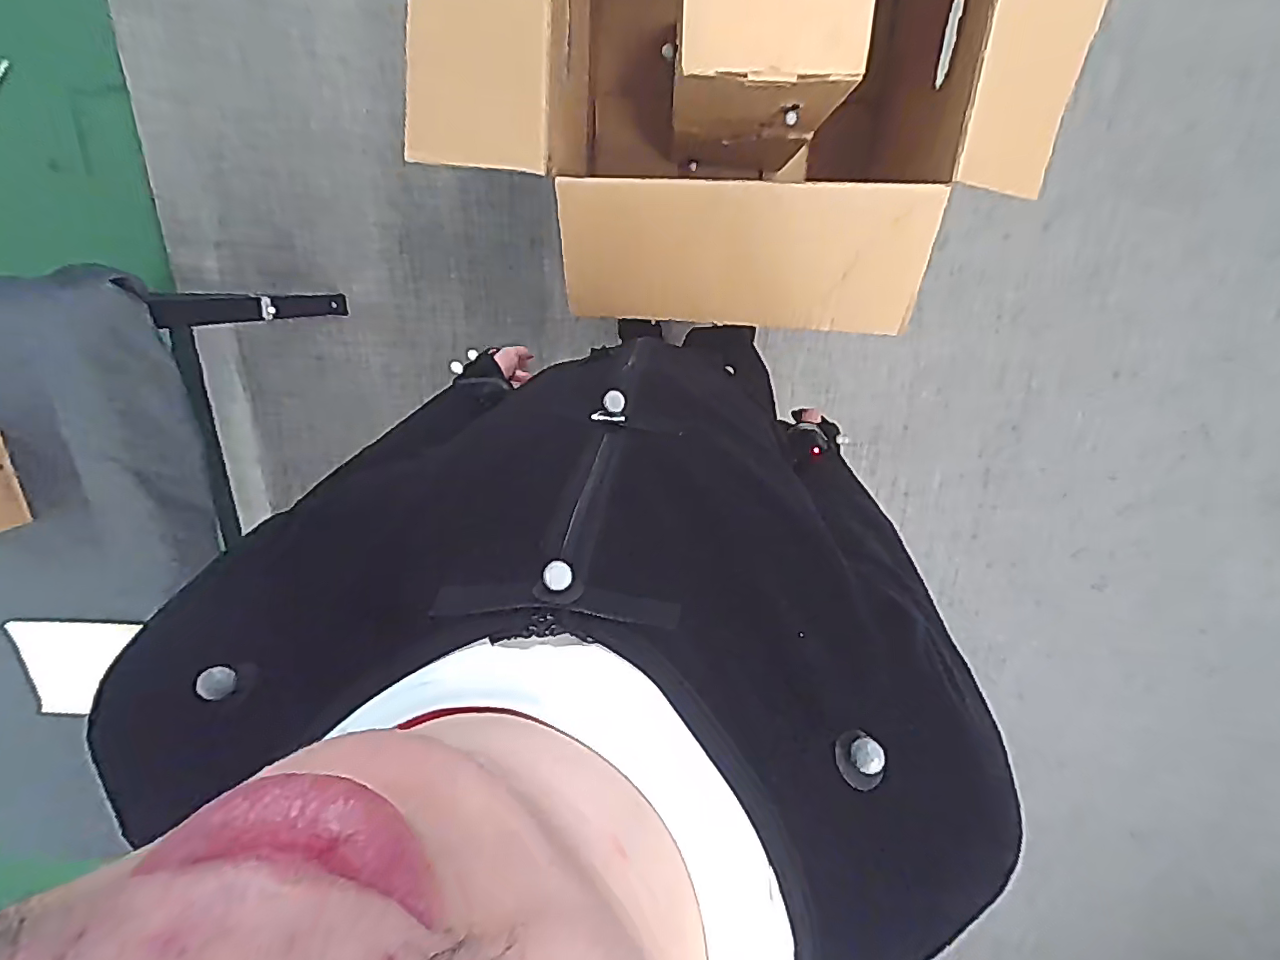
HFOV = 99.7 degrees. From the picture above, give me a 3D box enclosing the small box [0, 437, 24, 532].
[{"bbox_3d":[-1.114,0.018,0.822,0.179,0.176,0.168,2,109,1],"label":"small box"}]
